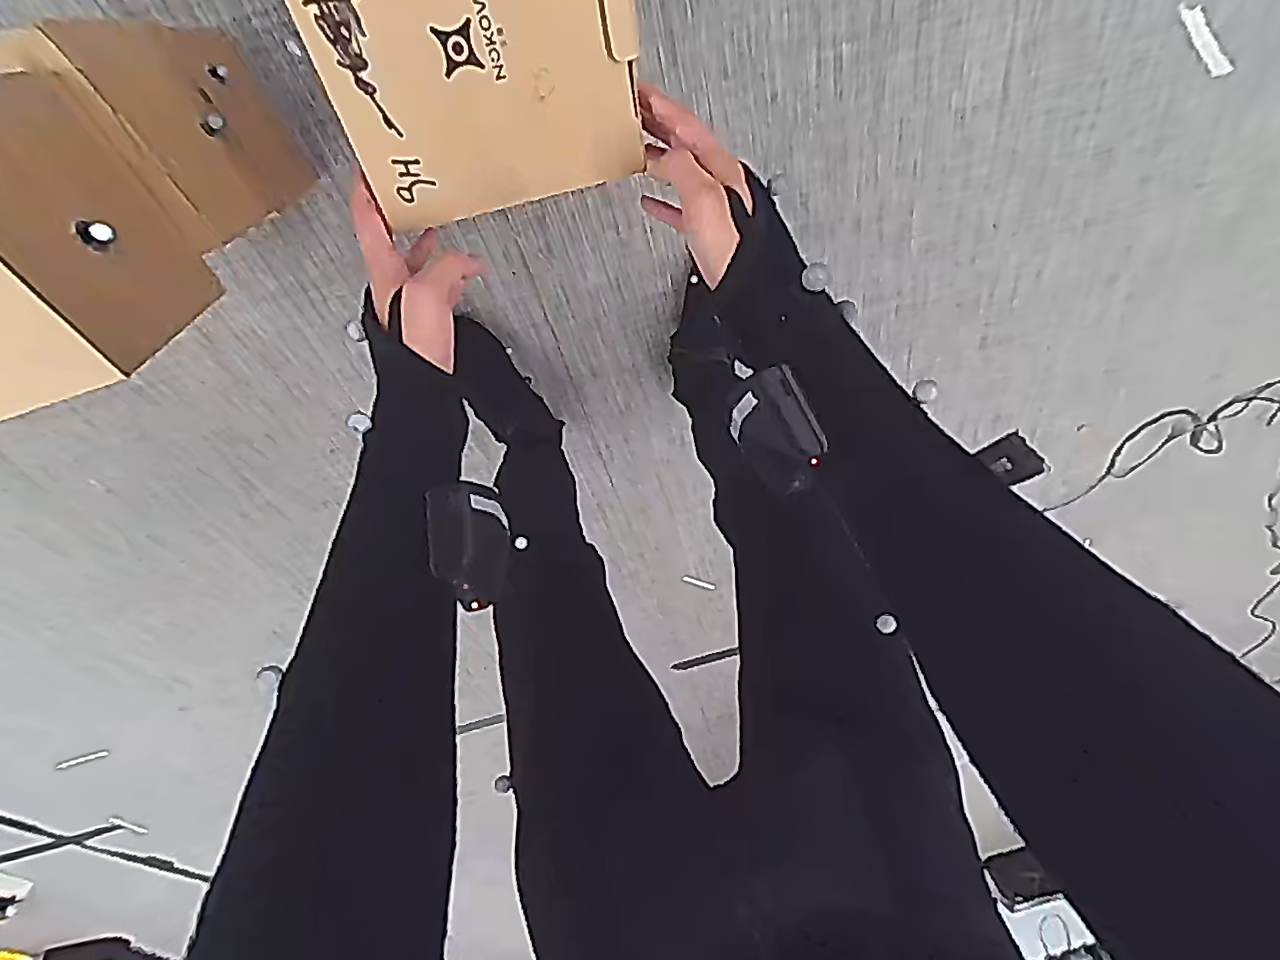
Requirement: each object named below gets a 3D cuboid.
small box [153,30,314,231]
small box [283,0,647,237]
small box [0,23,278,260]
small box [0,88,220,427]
[{"bbox_3d":[-0.525,-0.383,0.625,0.168,0.176,0.179,-19,131,5],"label":"small box"},{"bbox_3d":[-0.107,-0.289,0.360,0.179,0.176,0.168,-15,130,-2],"label":"small box"},{"bbox_3d":[-0.487,-0.285,0.499,0.179,0.176,0.168,-20,131,6],"label":"small box"},{"bbox_3d":[-0.470,-0.158,0.392,0.168,0.176,0.179,-17,132,4],"label":"small box"}]
